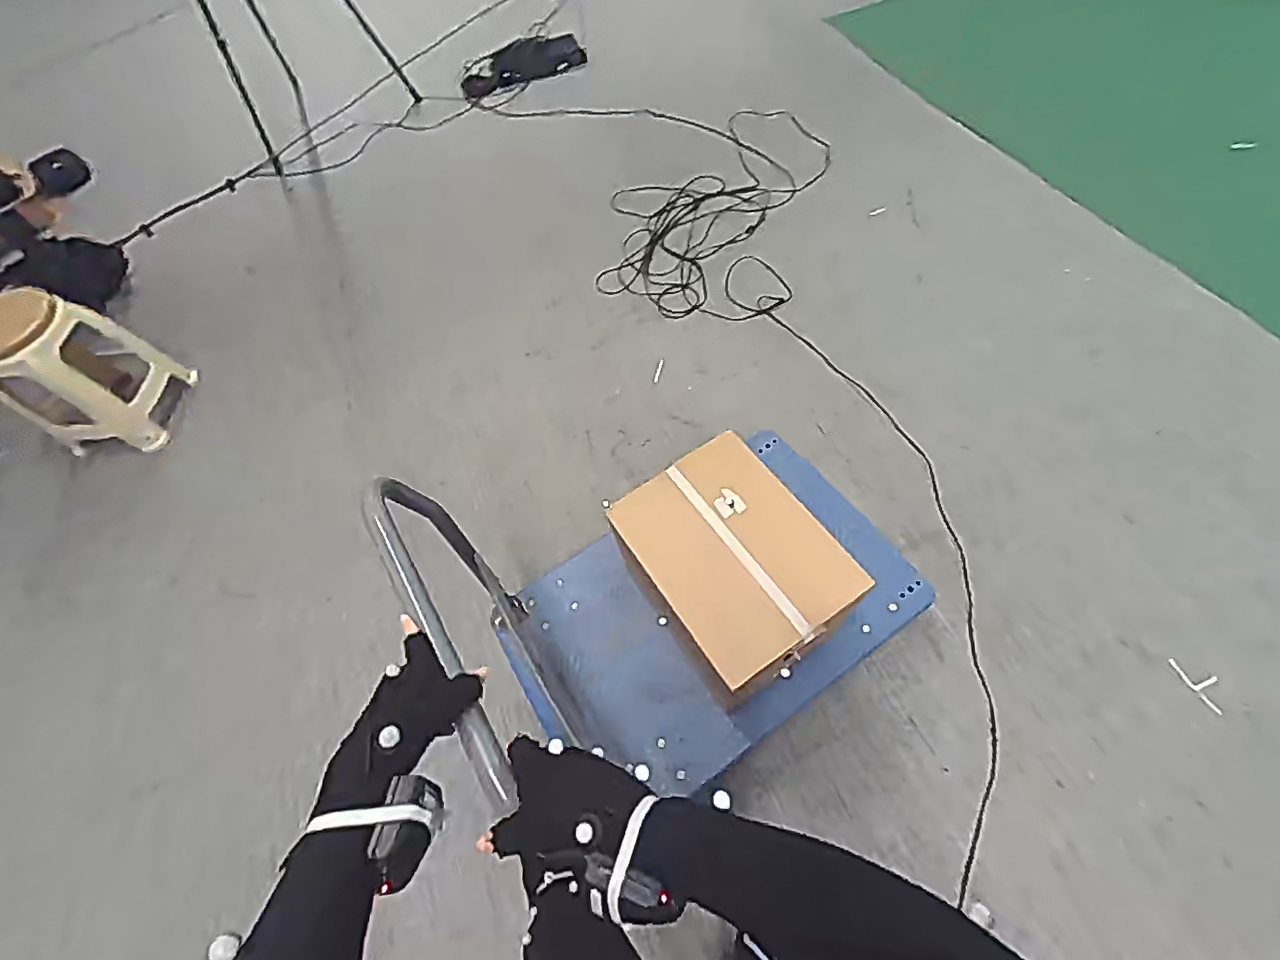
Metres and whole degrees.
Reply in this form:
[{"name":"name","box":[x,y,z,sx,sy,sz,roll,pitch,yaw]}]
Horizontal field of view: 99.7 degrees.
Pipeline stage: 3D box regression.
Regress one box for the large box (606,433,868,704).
[{"name":"large box","box":[0.185,0.189,1.127,0.320,0.320,0.408,-32,61,-11]}]
